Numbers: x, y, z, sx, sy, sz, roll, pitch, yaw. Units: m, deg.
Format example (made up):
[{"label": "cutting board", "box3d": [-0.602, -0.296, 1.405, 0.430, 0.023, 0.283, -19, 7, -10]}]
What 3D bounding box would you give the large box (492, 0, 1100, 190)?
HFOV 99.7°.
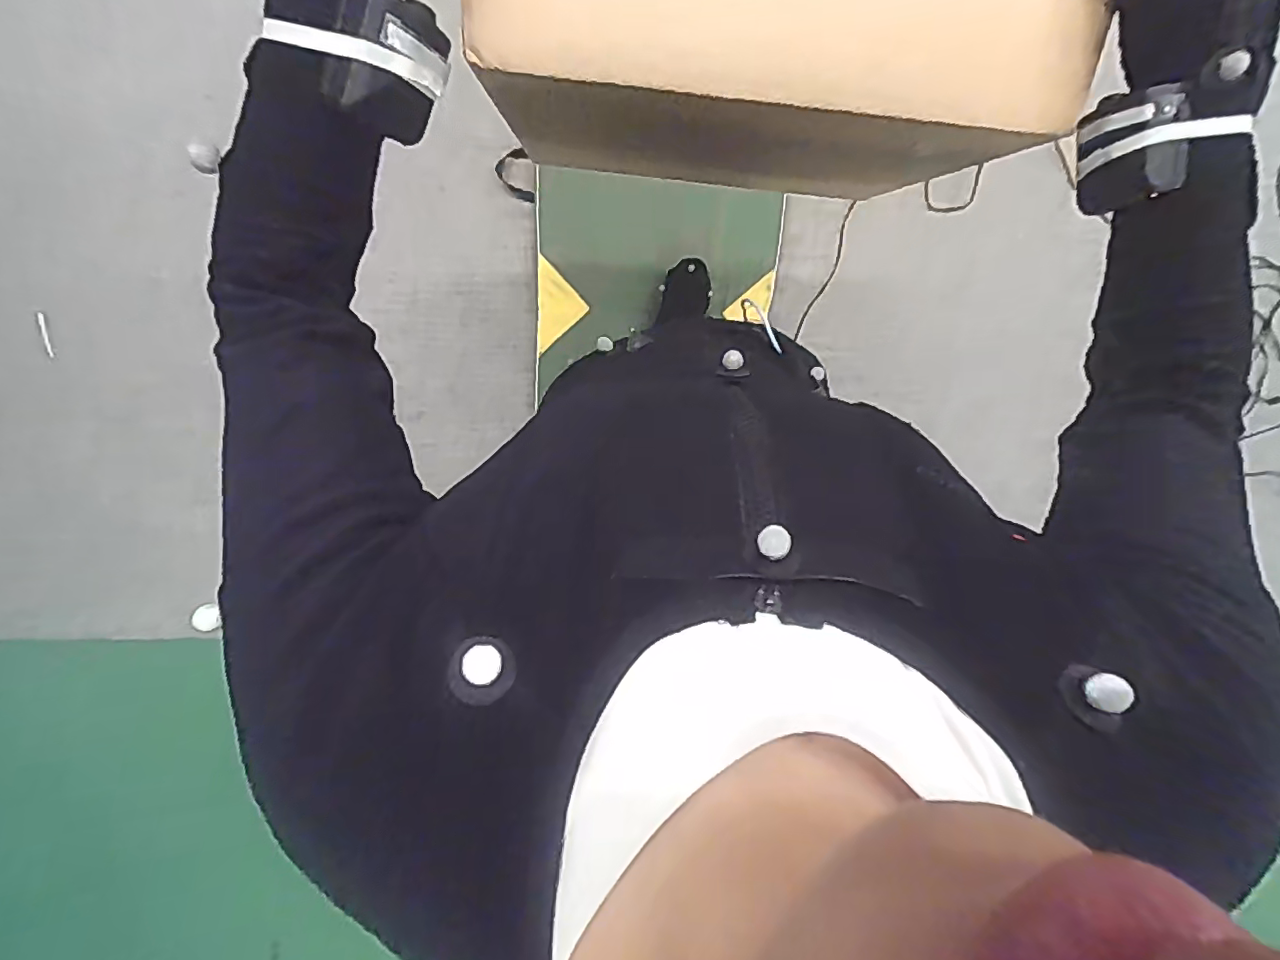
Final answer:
[{"label": "large box", "box3d": [0.099, -0.451, 0.452, 0.408, 0.320, 0.320, 3, 111, -5]}]
